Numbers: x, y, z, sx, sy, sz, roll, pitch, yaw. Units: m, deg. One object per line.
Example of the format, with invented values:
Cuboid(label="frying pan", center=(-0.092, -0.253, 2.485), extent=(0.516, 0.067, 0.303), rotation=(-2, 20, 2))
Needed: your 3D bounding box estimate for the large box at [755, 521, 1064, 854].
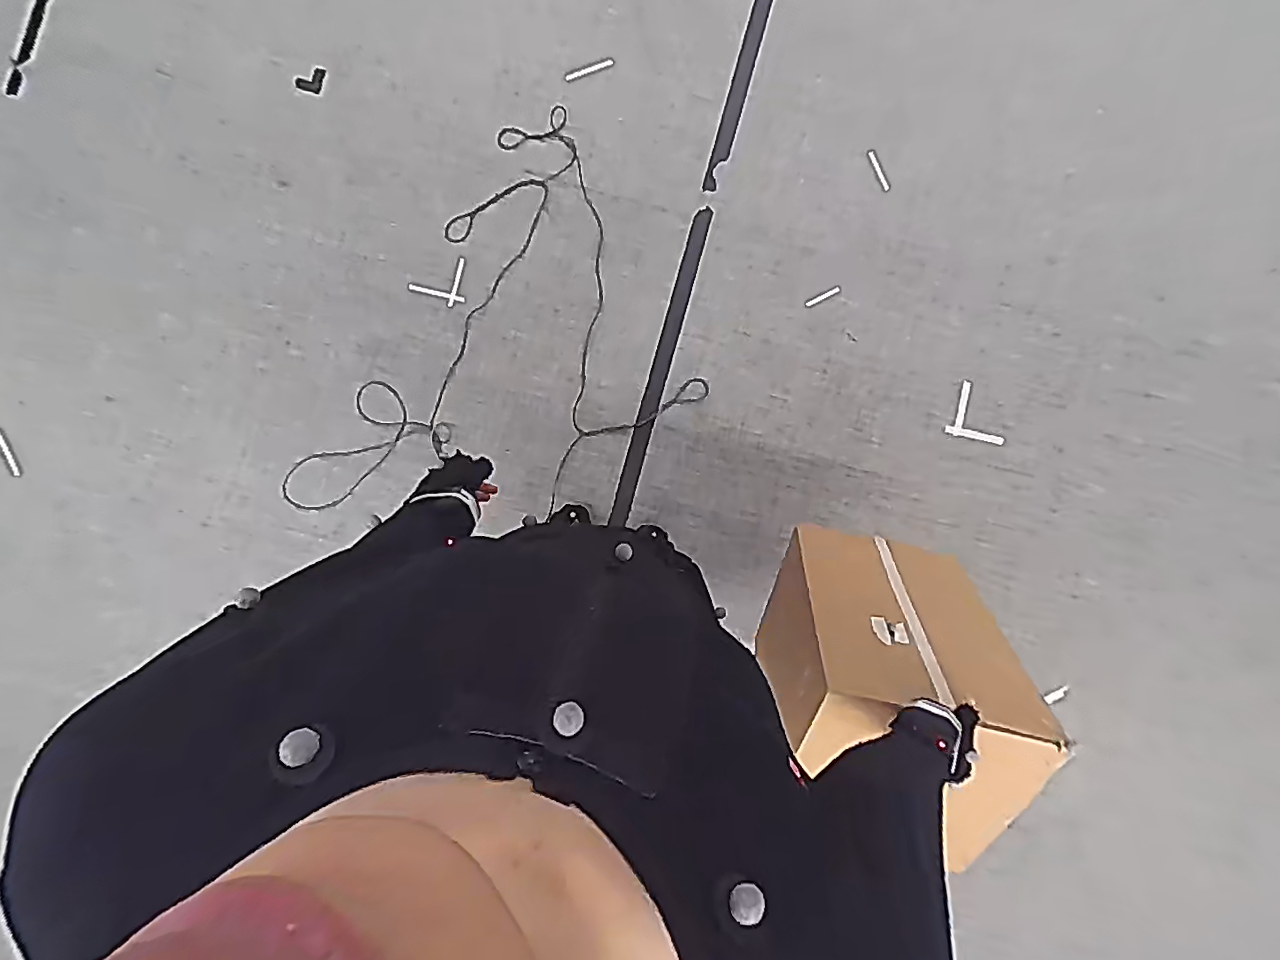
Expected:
Cuboid(label="large box", center=(0.400, 0.335, 0.946), extent=(0.320, 0.408, 0.320), rotation=(12, 121, 3))
